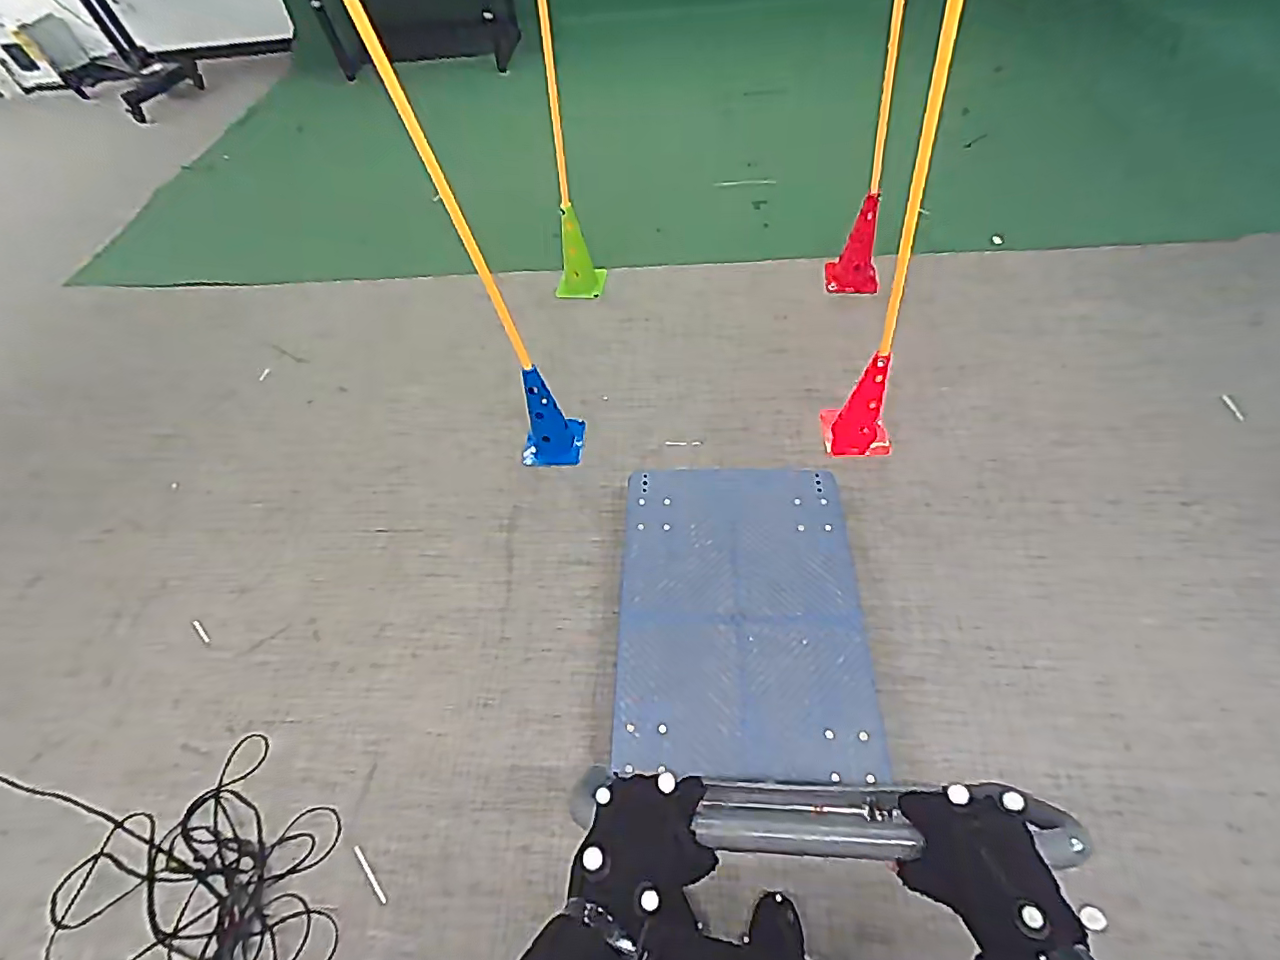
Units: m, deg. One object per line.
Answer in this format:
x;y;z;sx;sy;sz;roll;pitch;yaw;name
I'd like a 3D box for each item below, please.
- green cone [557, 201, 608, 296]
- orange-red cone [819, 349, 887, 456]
-0.267;-0.967;2.228;0.202;0.368;0.200;3;56;9;green cone
0.691;-0.257;1.662;0.199;0.360;0.198;-2;55;7;orange-red cone
